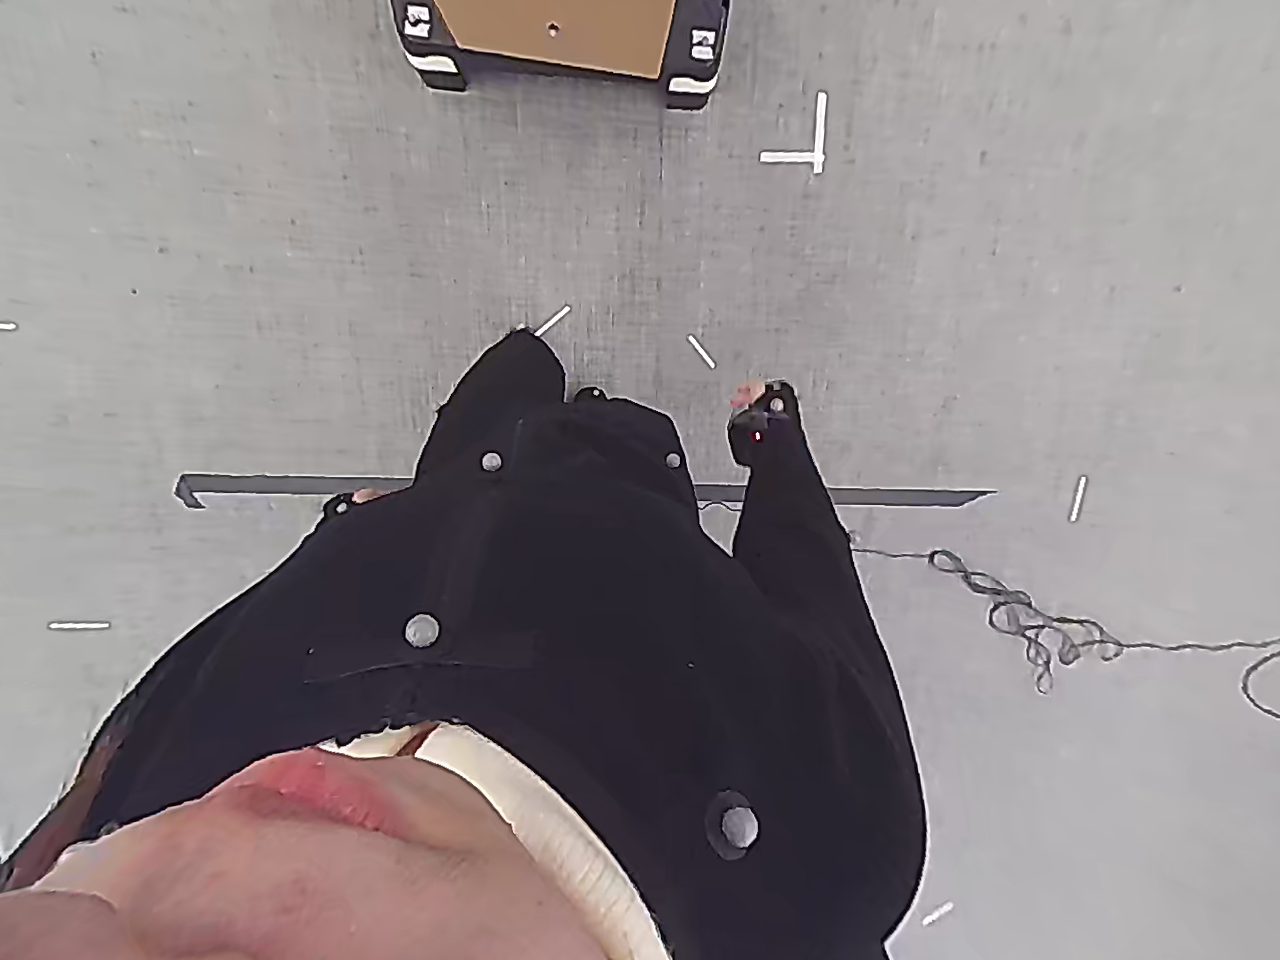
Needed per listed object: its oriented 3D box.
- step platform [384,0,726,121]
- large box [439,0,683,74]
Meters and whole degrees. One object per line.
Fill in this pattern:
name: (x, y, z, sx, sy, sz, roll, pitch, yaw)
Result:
step platform: (-0.164, -0.990, 1.123, 0.684, 0.204, 0.286, 7, 104, -4)
large box: (-0.124, -0.932, 0.894, 0.408, 0.320, 0.320, 5, 104, -4)
